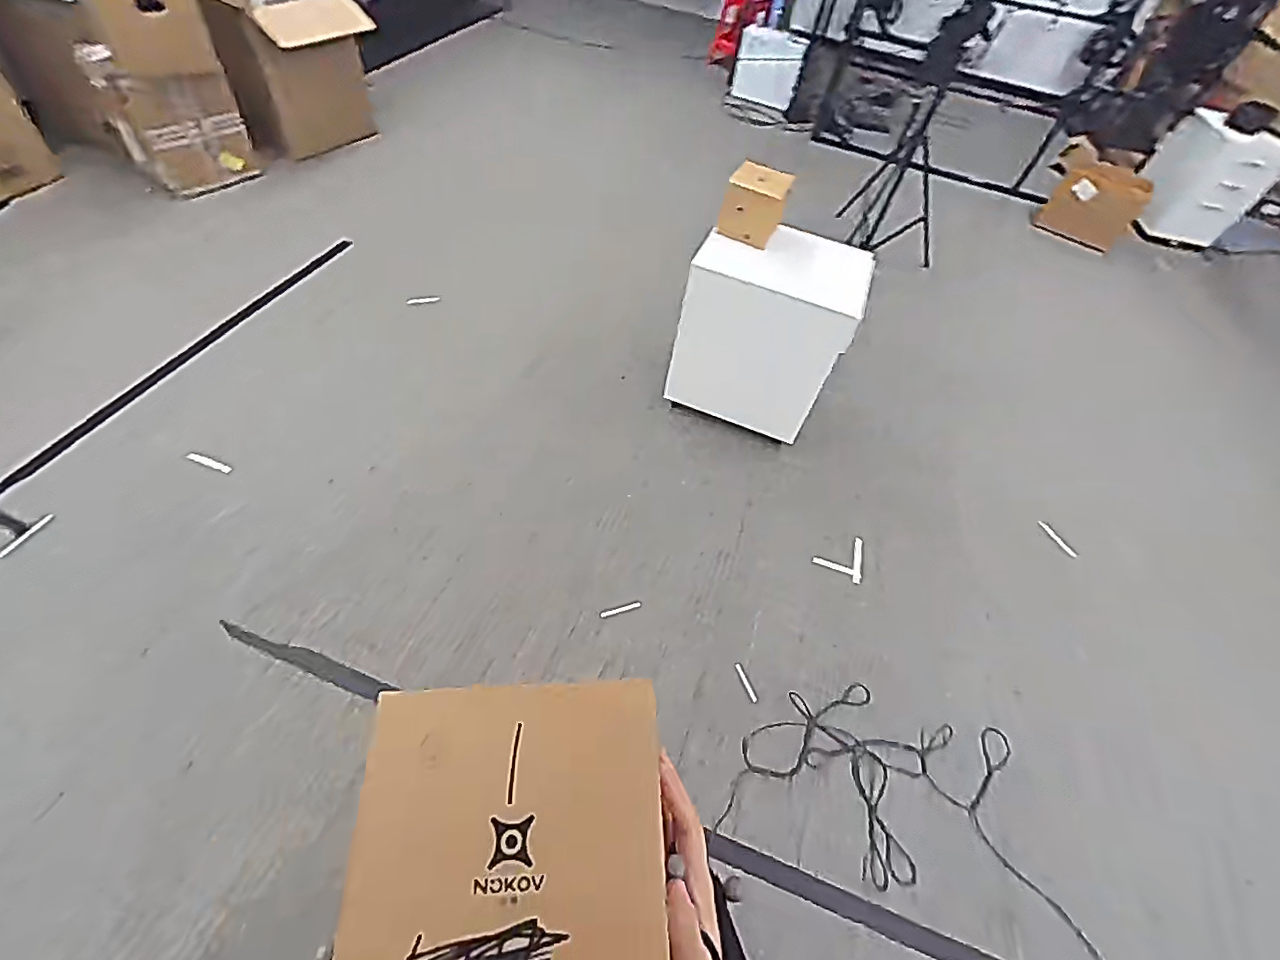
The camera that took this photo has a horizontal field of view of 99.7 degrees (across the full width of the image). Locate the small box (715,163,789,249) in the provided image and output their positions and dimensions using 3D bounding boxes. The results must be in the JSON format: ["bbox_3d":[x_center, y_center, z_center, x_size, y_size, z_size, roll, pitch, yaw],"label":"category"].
[{"bbox_3d":[0.346,-0.857,1.699,0.168,0.176,0.179,24,54,9],"label":"small box"}]
